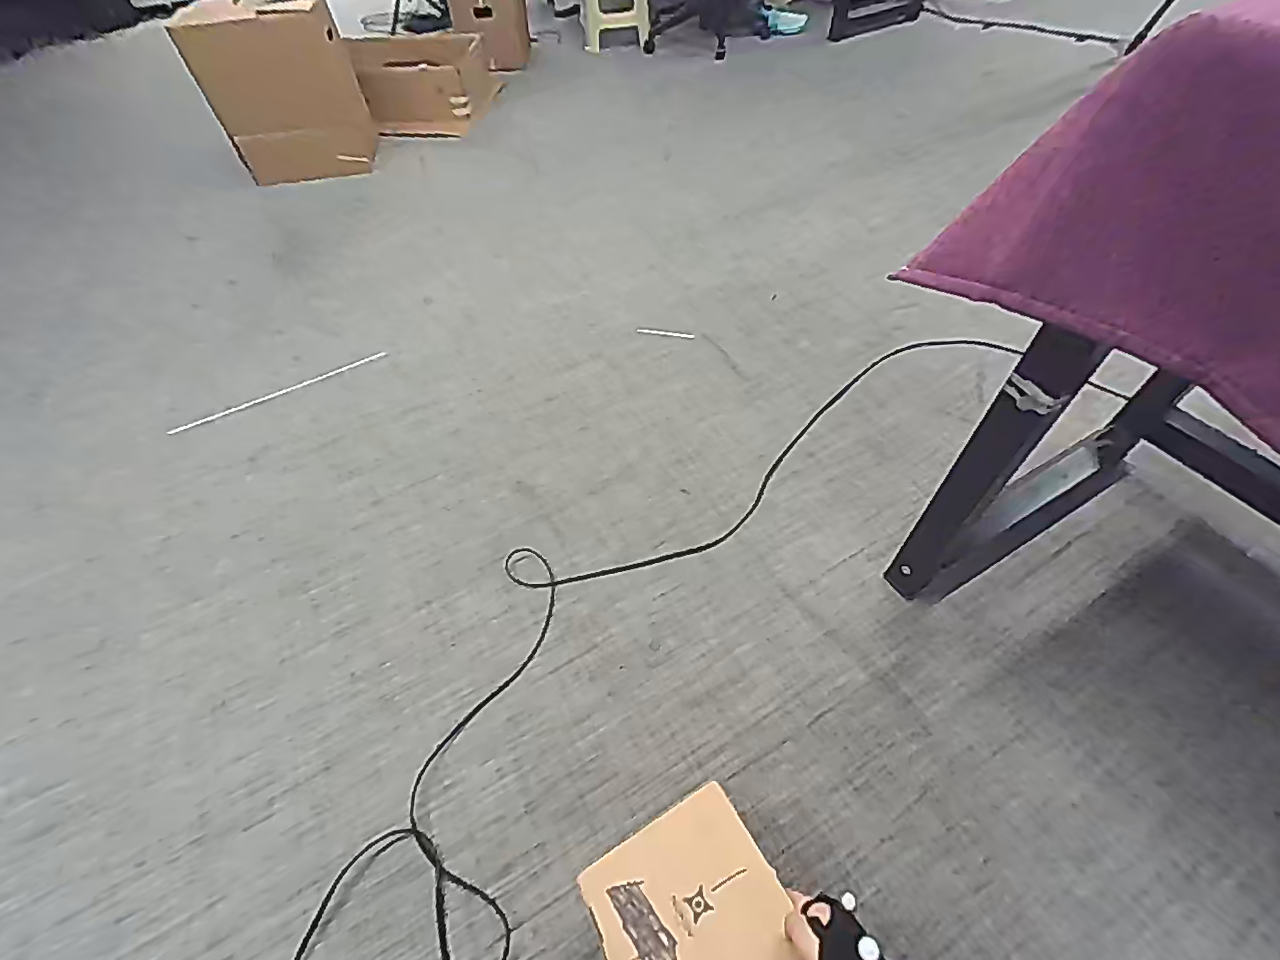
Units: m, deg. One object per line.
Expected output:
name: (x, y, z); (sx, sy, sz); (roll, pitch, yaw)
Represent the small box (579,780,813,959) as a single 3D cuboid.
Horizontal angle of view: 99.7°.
small box: (0.059, 0.470, 0.582); (0.179, 0.176, 0.168); (-27, 49, -16)
